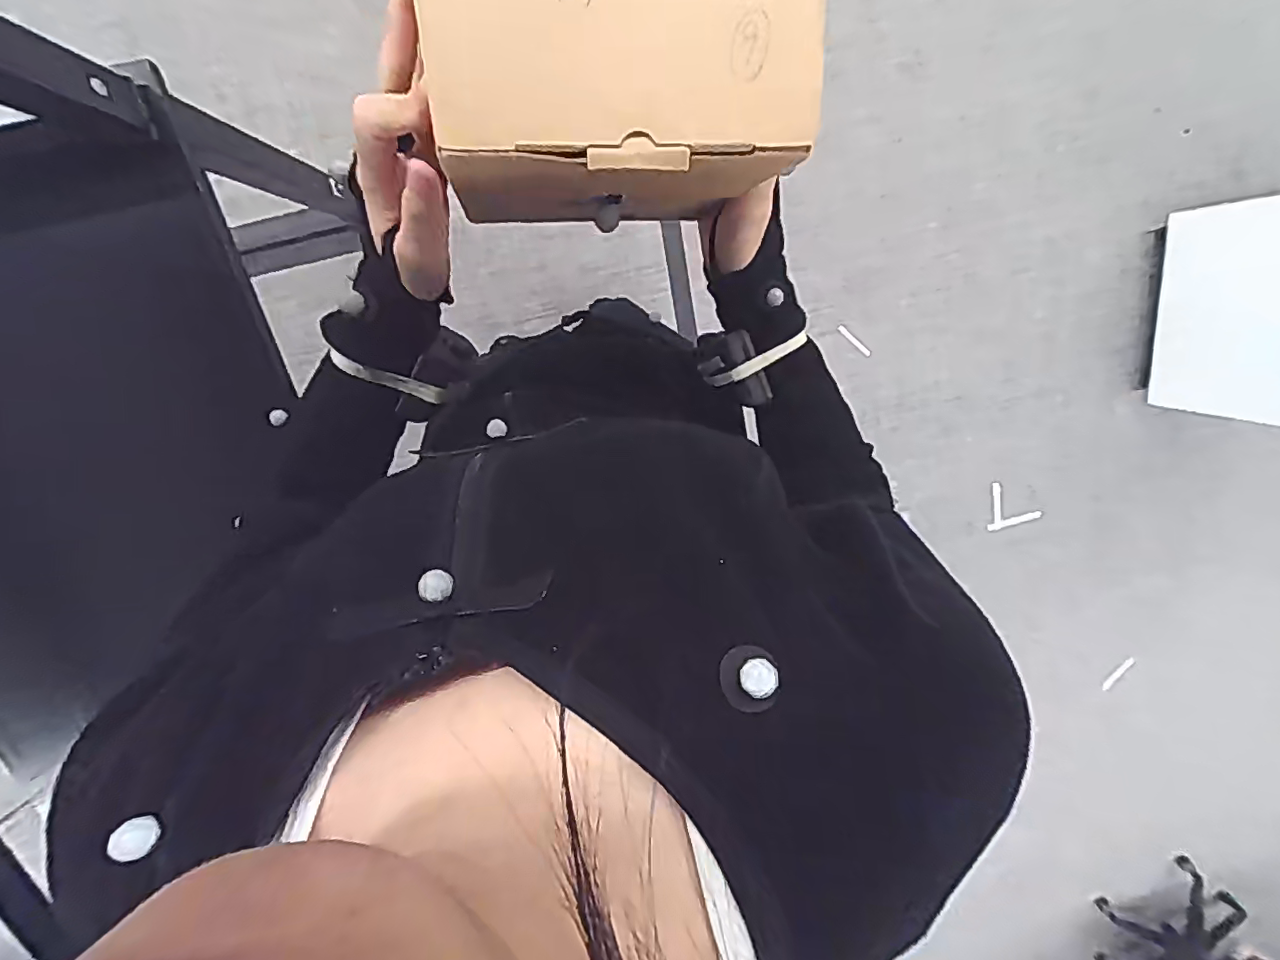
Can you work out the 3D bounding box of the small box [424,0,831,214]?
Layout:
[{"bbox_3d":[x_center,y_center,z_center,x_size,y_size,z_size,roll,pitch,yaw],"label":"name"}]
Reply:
[{"bbox_3d":[-0.017,-0.241,0.277,0.168,0.176,0.179,-7,109,-11],"label":"small box"}]
